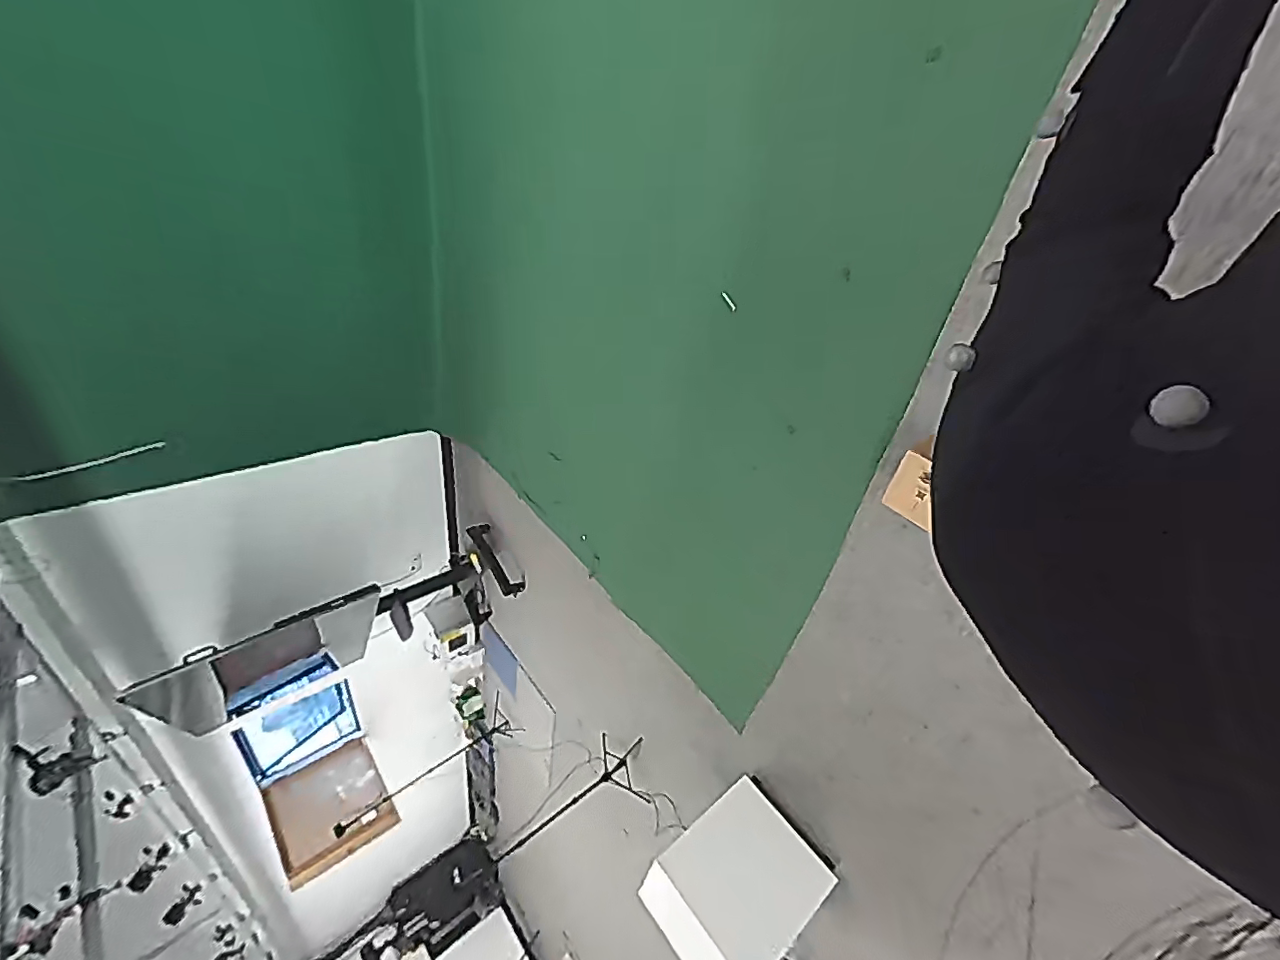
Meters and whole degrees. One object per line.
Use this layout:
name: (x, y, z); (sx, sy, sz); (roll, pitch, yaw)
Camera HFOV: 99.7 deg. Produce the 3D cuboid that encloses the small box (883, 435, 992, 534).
small box: (0.776, 0.004, 1.405); (0.168, 0.176, 0.179); (40, 135, 34)
